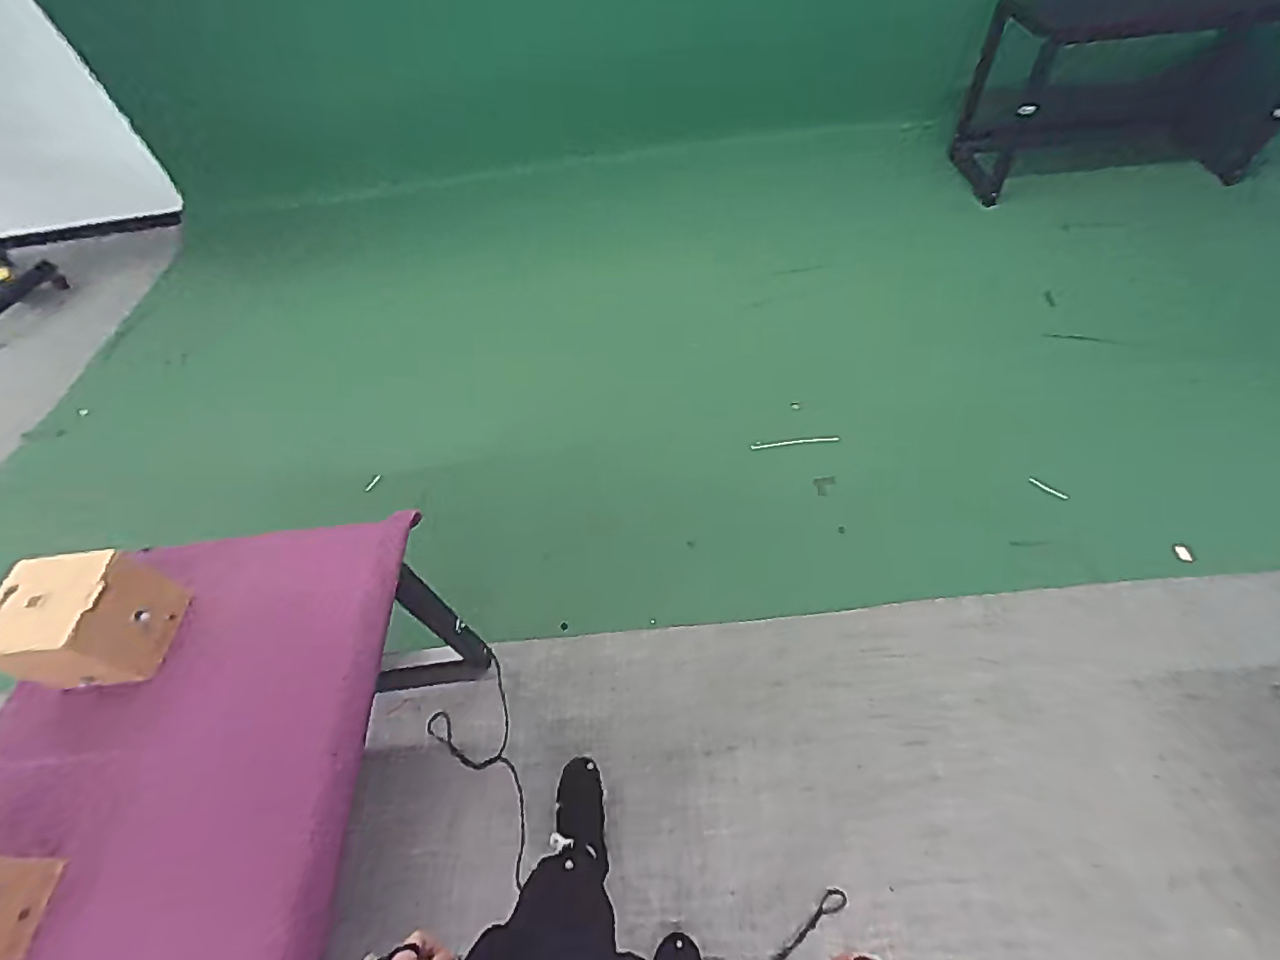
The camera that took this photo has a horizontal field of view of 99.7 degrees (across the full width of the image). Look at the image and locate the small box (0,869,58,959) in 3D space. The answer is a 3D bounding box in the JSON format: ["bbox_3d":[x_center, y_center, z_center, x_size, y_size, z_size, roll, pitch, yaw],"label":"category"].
[{"bbox_3d":[-0.907,0.587,0.666,0.179,0.176,0.168,-8,53,2],"label":"small box"}]

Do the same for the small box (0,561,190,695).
[{"bbox_3d":[-0.928,0.253,0.914,0.179,0.176,0.168,-6,53,2],"label":"small box"}]
